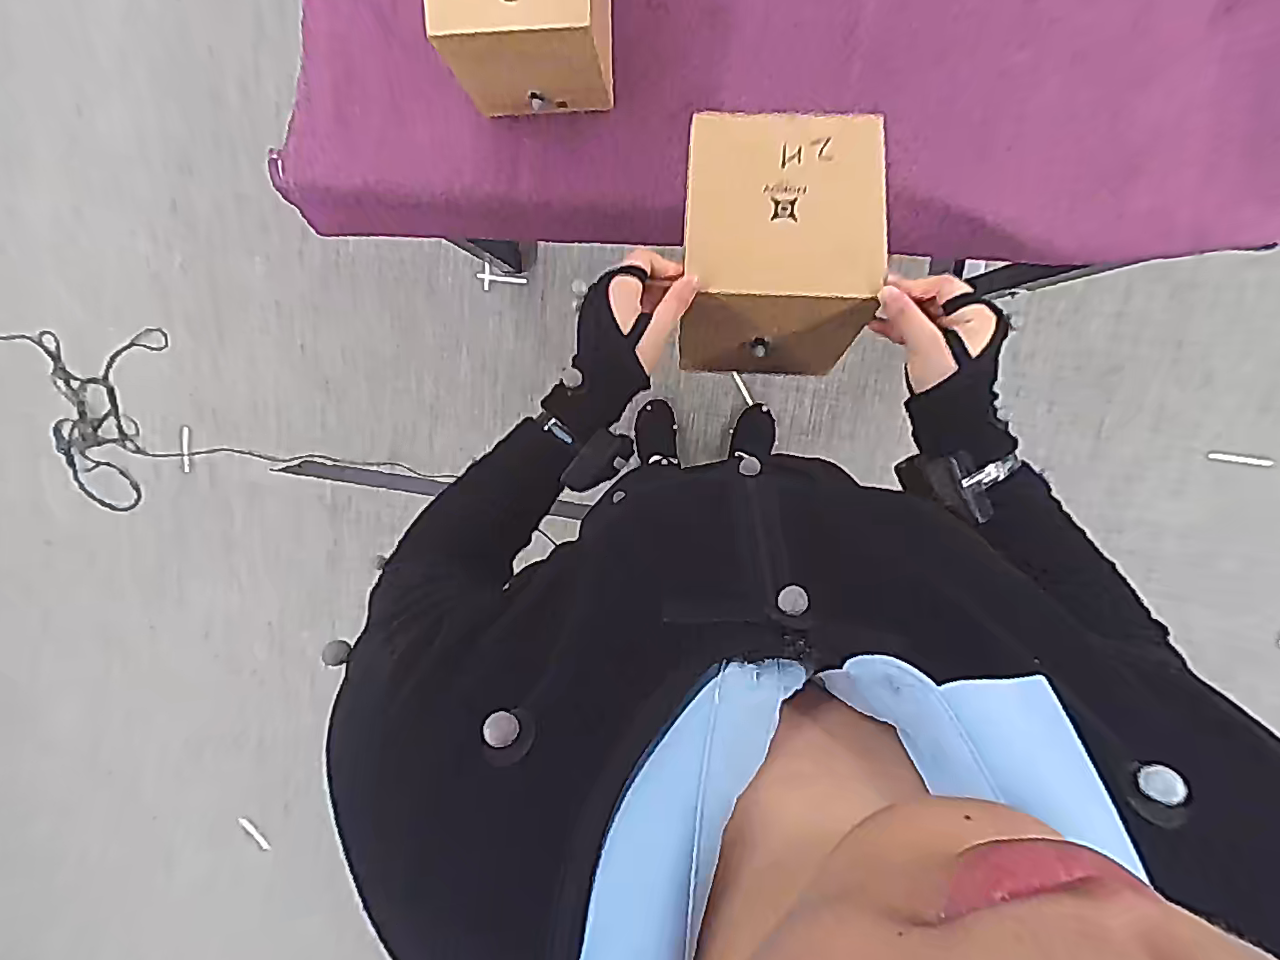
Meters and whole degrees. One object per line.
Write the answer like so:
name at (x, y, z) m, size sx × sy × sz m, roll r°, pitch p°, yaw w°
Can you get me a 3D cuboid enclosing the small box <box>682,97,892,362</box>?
small box at (0.129, -0.228, 0.528) m, size 0.168 × 0.176 × 0.179 m, roll 4°, pitch 79°, yaw 3°
